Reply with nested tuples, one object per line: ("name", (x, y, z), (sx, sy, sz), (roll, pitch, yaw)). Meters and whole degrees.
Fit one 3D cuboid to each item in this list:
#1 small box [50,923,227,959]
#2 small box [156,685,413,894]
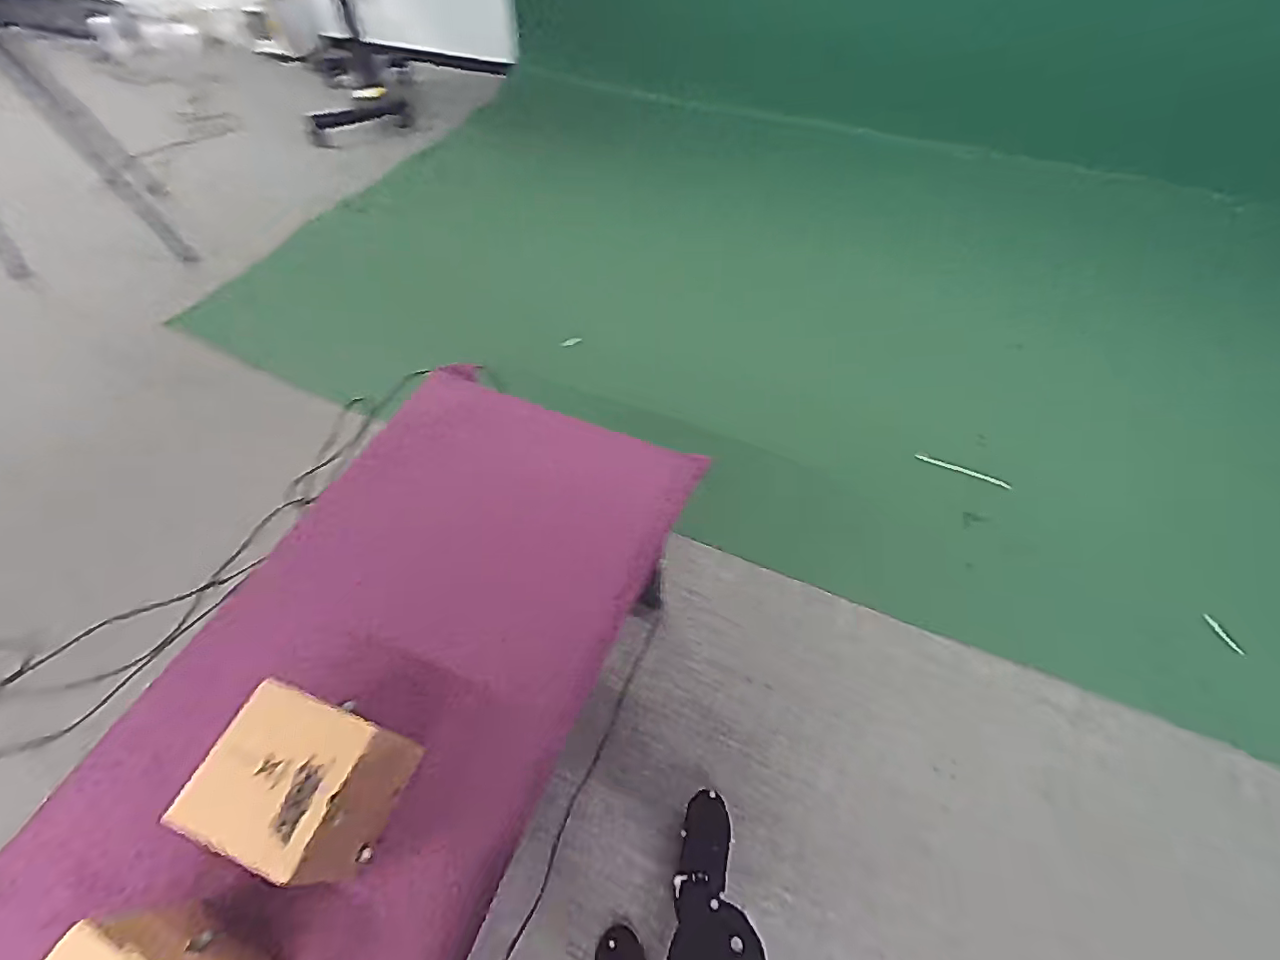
("small box", (-0.531, 0.588, 0.544), (0.168, 0.176, 0.179), (20, 57, 14))
("small box", (-0.424, 0.387, 0.684), (0.179, 0.176, 0.168), (16, 57, 12))
